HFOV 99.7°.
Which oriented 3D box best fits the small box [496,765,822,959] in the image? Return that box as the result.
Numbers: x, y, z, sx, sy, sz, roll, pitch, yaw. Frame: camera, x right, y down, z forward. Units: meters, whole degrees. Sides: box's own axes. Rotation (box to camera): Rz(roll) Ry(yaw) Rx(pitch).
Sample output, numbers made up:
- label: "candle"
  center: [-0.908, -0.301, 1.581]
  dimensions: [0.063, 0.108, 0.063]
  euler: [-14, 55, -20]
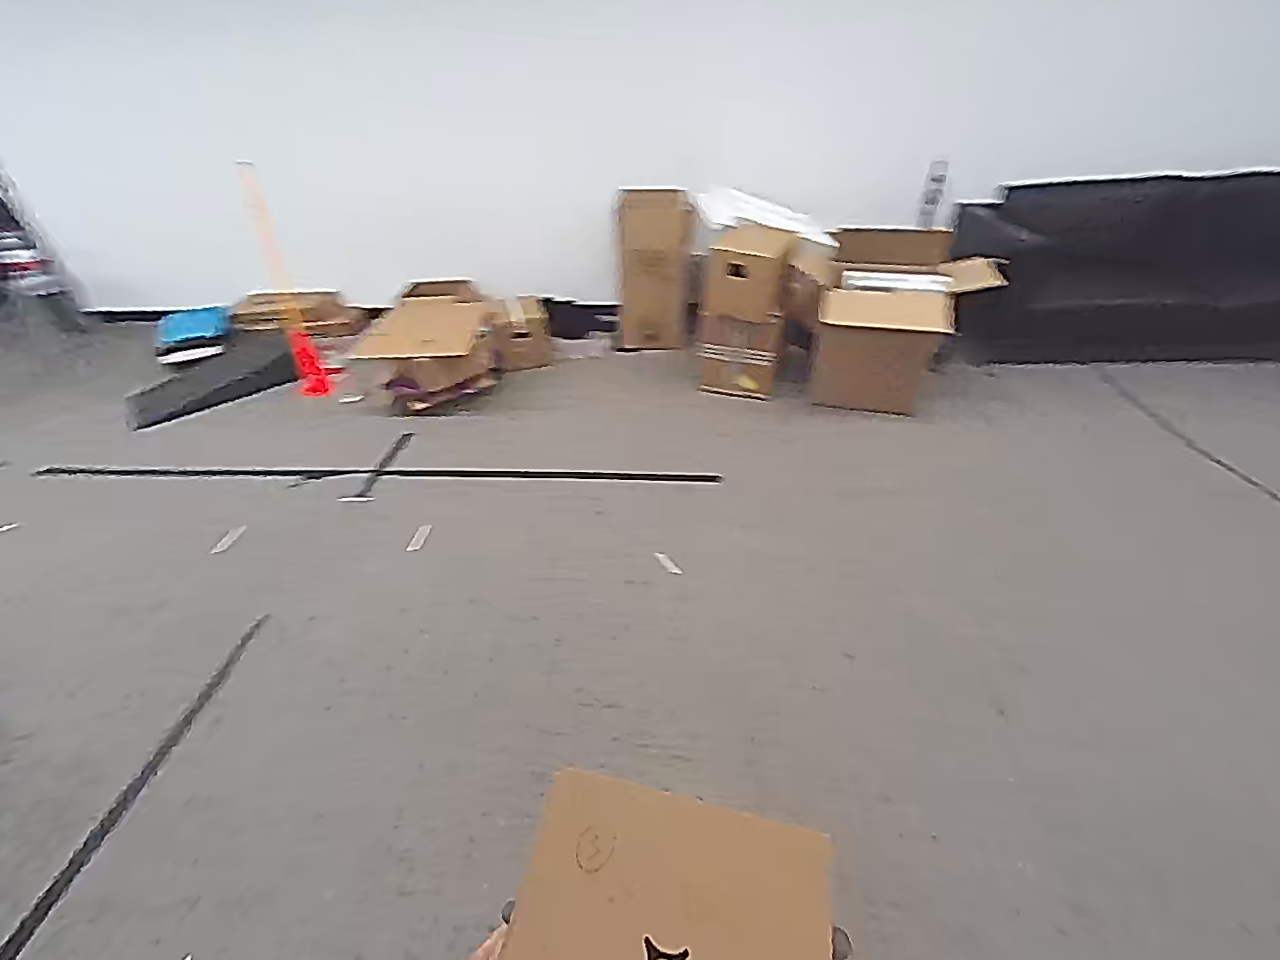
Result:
- label: "small box"
  center: [0.009, 0.307, 0.332]
  dimensions: [0.168, 0.176, 0.179]
  euler: [8, 51, 11]
